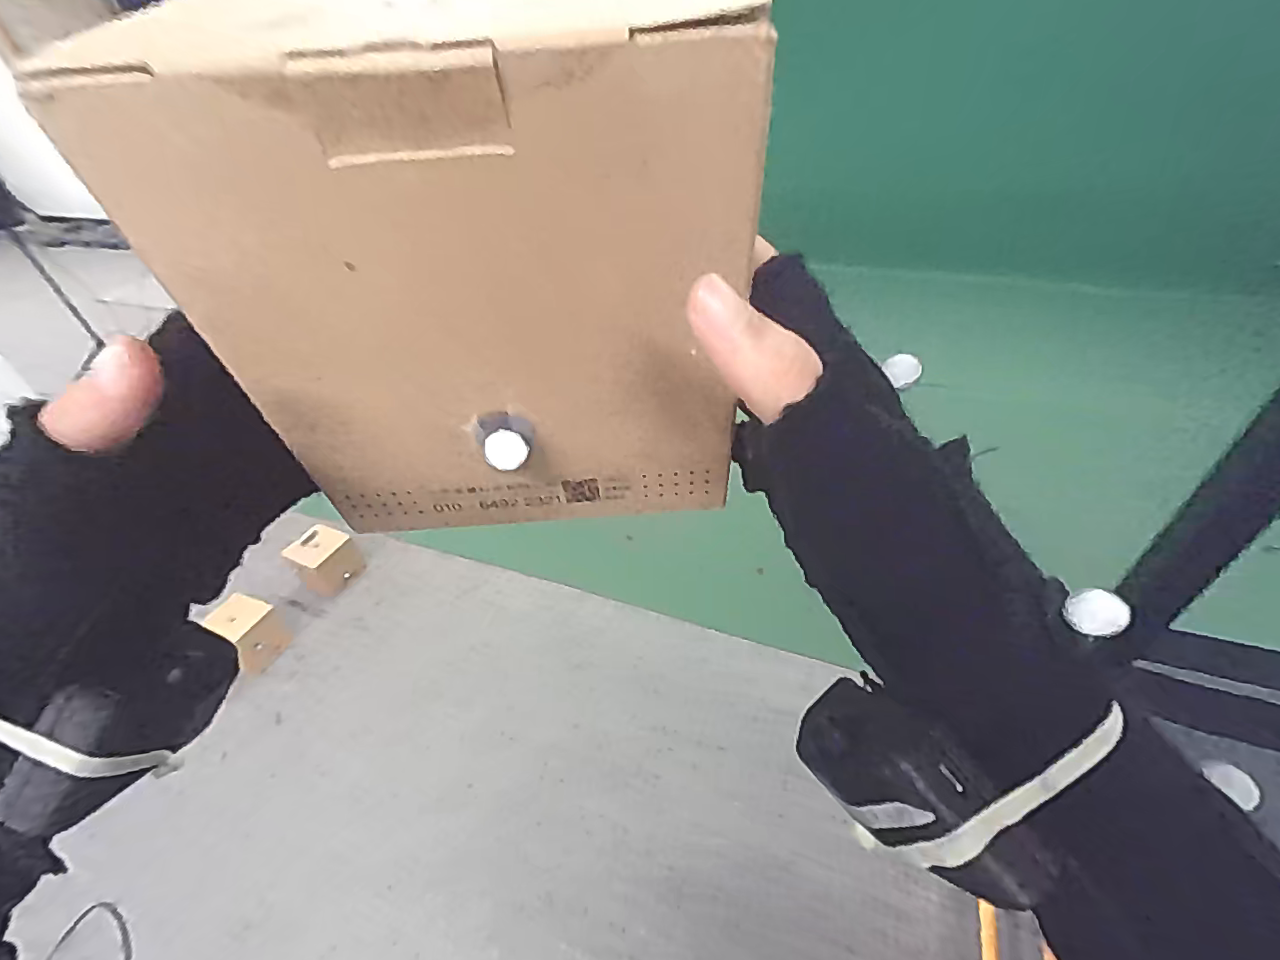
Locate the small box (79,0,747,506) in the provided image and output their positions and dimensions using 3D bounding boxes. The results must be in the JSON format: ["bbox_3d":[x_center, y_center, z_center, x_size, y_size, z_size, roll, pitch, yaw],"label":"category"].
[{"bbox_3d":[-0.055,-0.110,0.244,0.168,0.176,0.179,-5,48,1],"label":"small box"}]

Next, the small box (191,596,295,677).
[{"bbox_3d":[-1.252,0.502,1.722,0.179,0.176,0.168,11,43,19],"label":"small box"}]

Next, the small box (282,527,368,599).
[{"bbox_3d":[-1.128,0.300,1.945,0.179,0.176,0.168,15,44,20],"label":"small box"}]
